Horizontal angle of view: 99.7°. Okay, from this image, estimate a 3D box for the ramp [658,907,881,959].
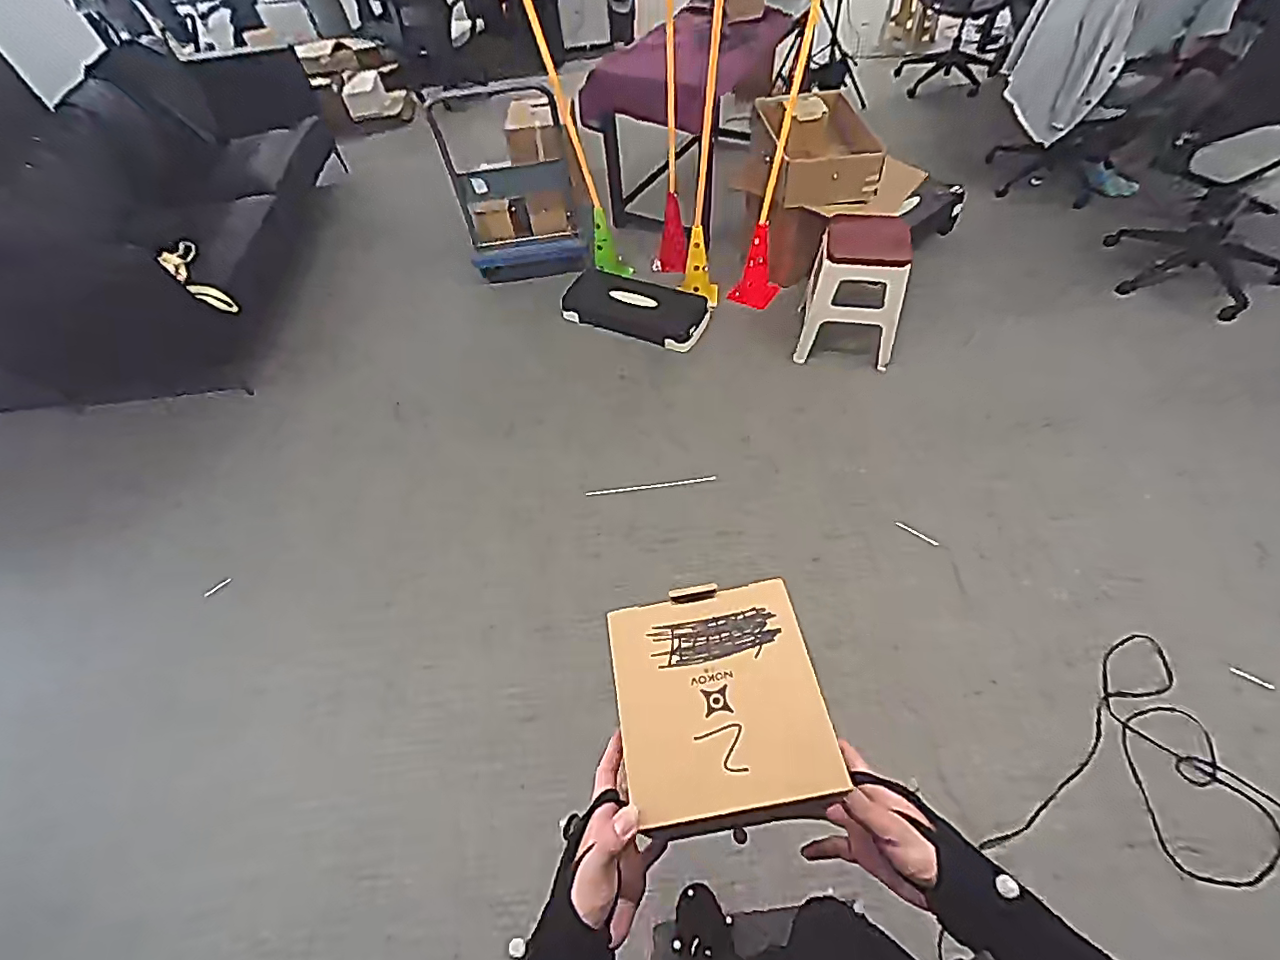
[{"bbox_3d":[0.315,1.359,0.892,0.509,0.206,0.991,-9,54,1],"label":"ramp"}]
